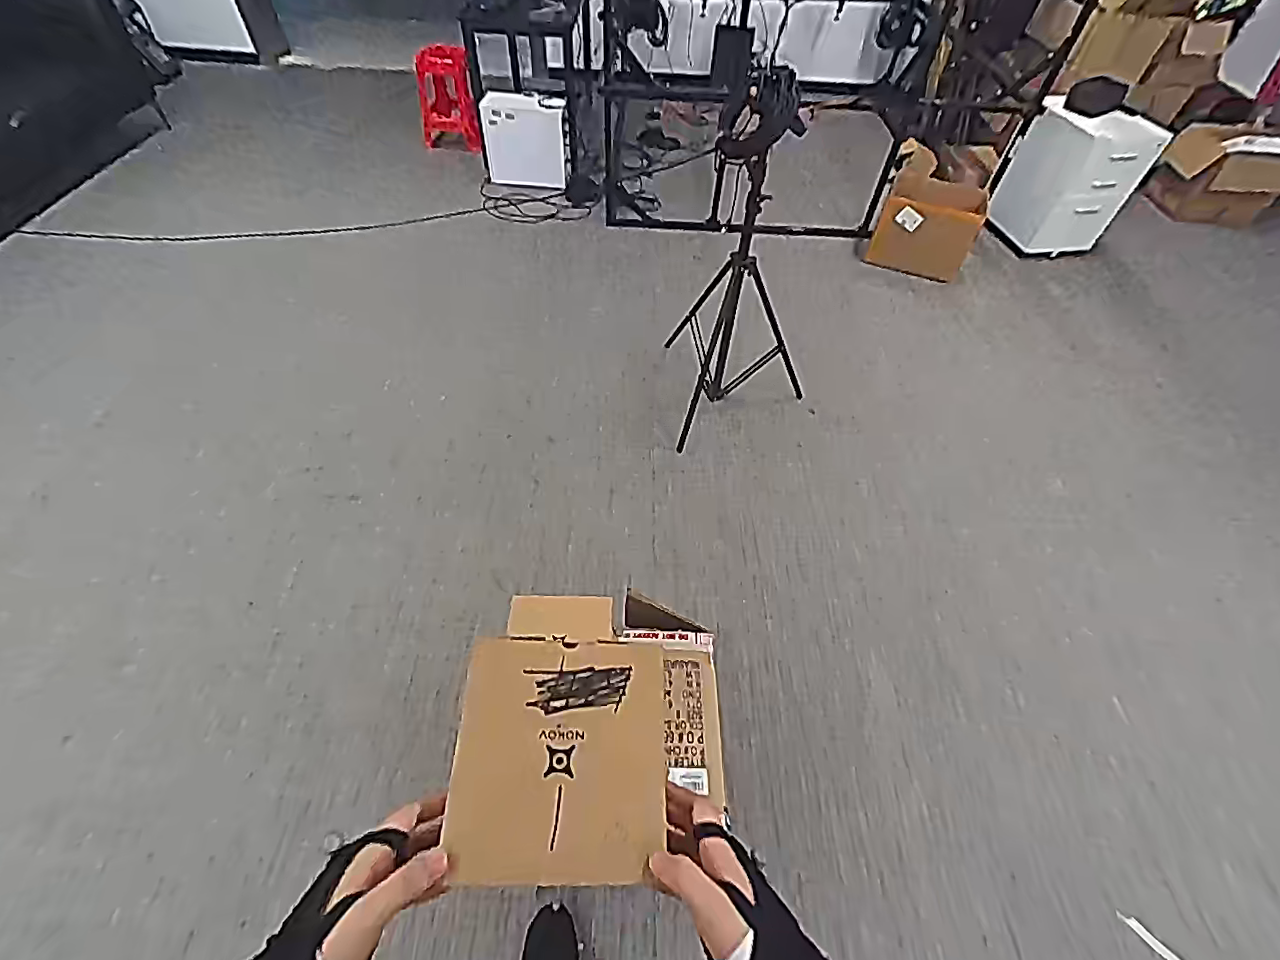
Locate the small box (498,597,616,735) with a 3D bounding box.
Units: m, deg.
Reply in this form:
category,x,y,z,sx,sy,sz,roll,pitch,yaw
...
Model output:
category,x,y,z,sx,sy,sz,roll,pitch,yaw
small box,-0.127,0.310,0.897,0.168,0.176,0.179,1,54,0
